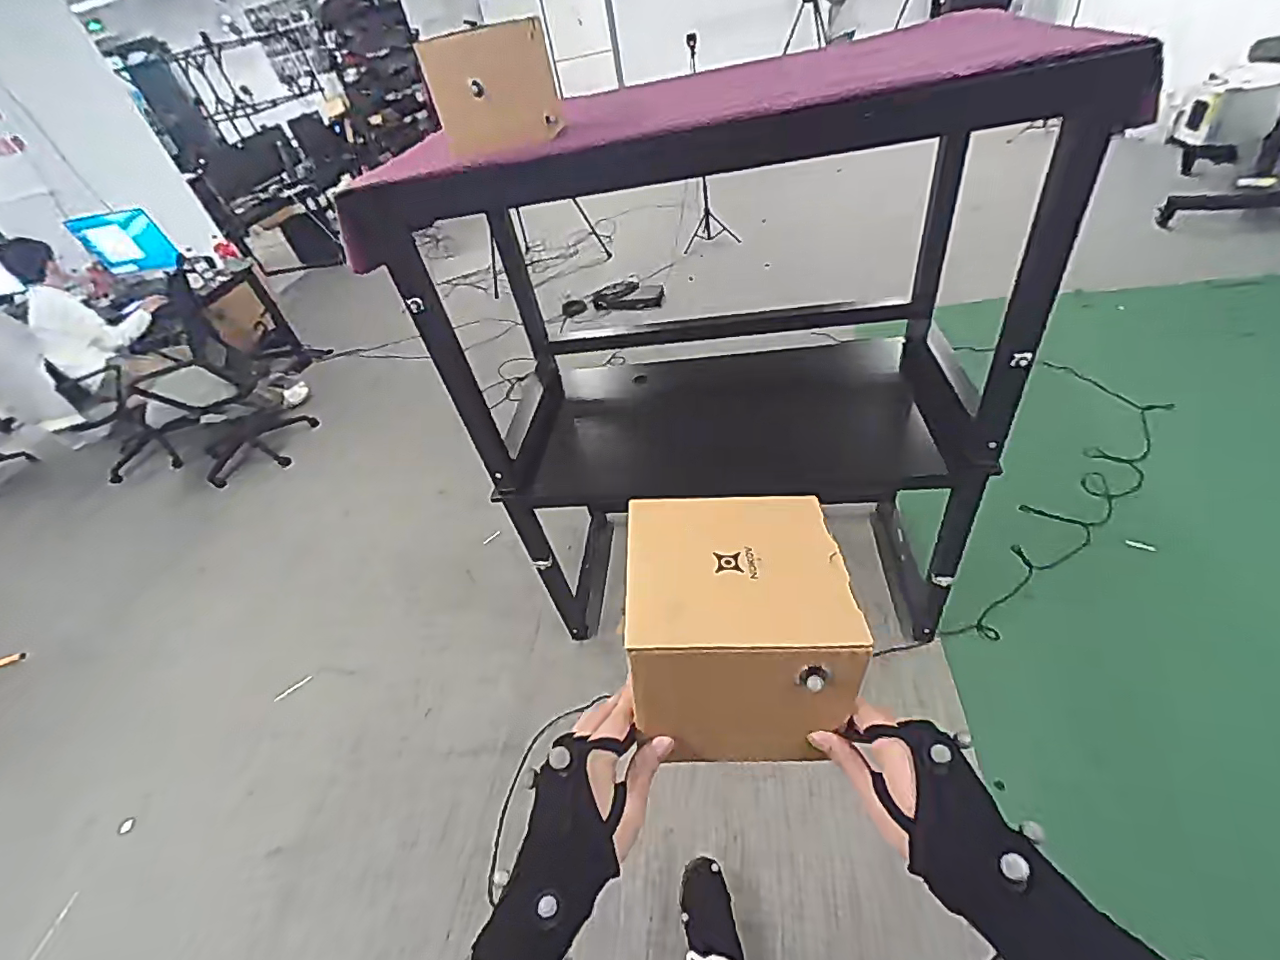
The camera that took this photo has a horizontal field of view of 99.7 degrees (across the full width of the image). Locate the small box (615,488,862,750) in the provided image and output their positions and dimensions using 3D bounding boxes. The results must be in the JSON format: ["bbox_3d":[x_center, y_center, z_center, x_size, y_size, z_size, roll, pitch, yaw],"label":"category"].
[{"bbox_3d":[0.074,0.125,0.487,0.179,0.176,0.168,-2,38,1],"label":"small box"}]

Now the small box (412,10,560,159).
[{"bbox_3d":[-0.251,-0.680,0.935,0.179,0.176,0.168,-5,42,10],"label":"small box"}]
